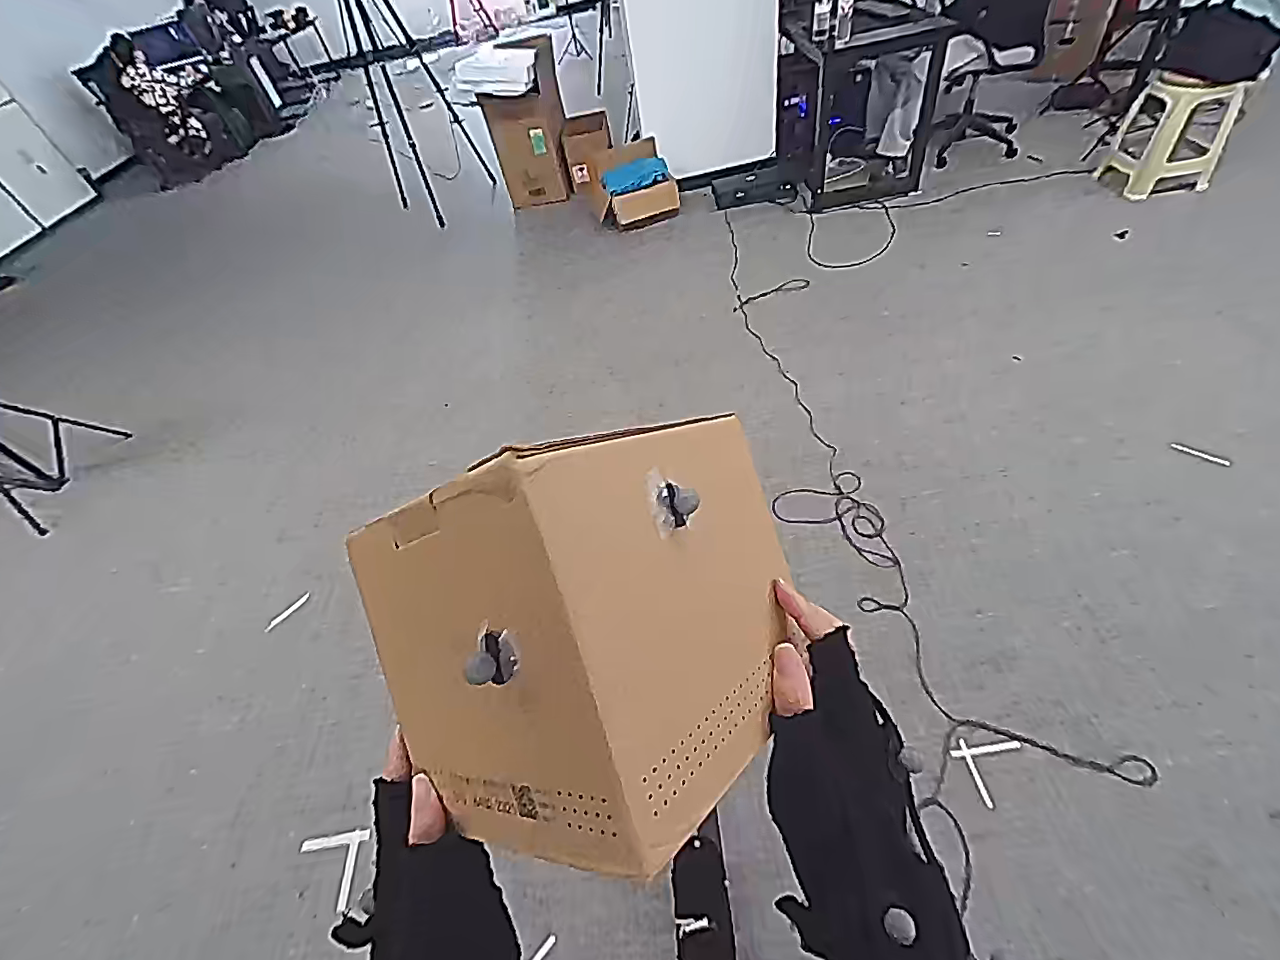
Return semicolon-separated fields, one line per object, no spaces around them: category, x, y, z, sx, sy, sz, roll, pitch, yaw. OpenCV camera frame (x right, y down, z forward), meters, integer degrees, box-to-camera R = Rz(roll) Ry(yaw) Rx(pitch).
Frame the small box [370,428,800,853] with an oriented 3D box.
small box;-0.026;0.082;0.330;0.168;0.176;0.179;-20;-3;41
